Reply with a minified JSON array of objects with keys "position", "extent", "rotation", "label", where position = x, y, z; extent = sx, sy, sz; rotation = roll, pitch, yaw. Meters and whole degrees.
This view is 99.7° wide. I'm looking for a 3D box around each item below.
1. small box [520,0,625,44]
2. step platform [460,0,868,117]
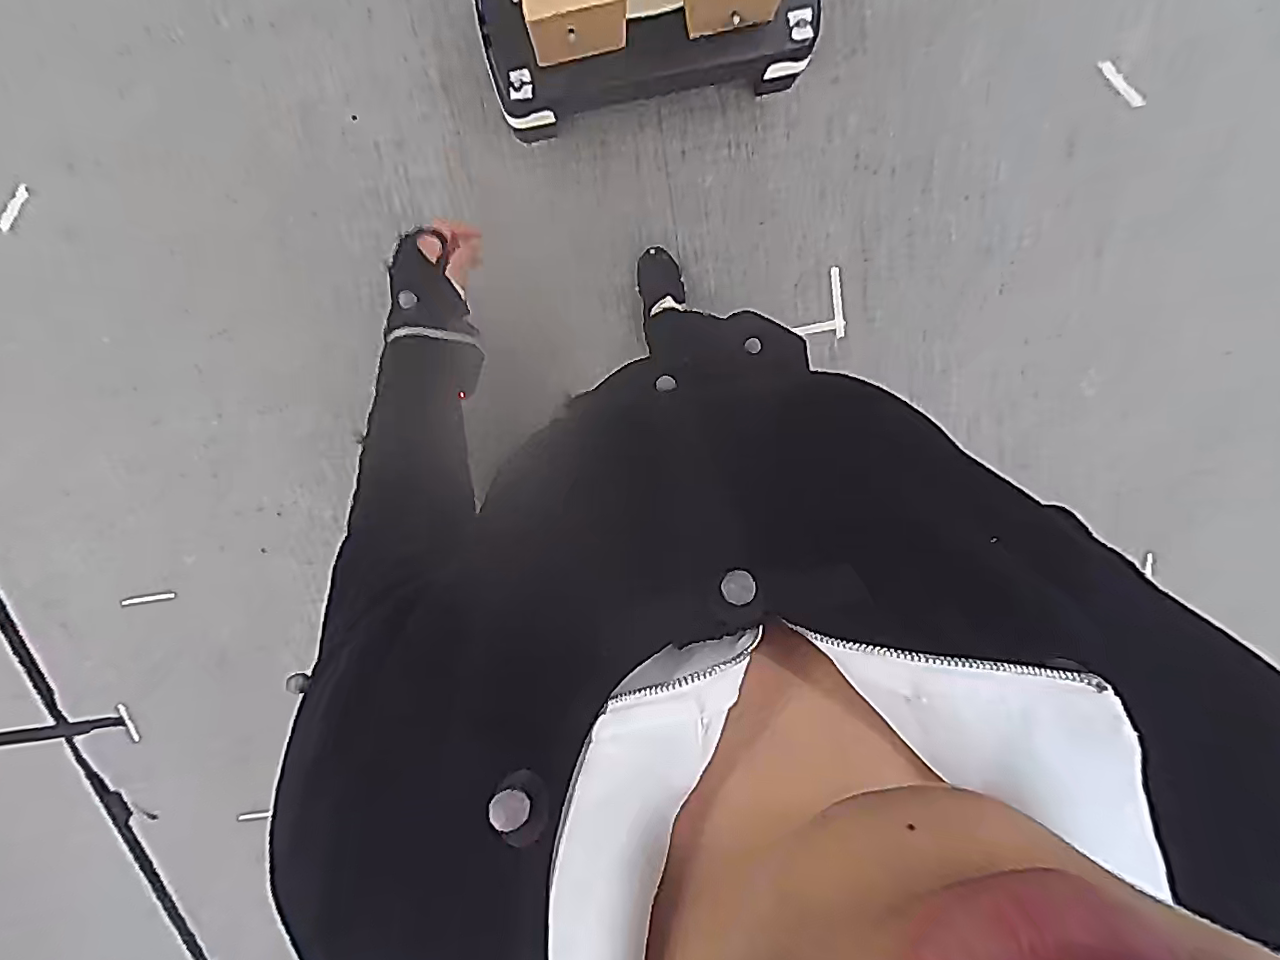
[{"position":[-0.126,-0.882,0.962],"extent":[0.179,0.176,0.168],"rotation":[-13,106,2],"label":"small box"},{"position":[0.038,-0.869,0.934],"extent":[0.684,0.204,0.286],"rotation":[-11,106,1],"label":"step platform"}]
